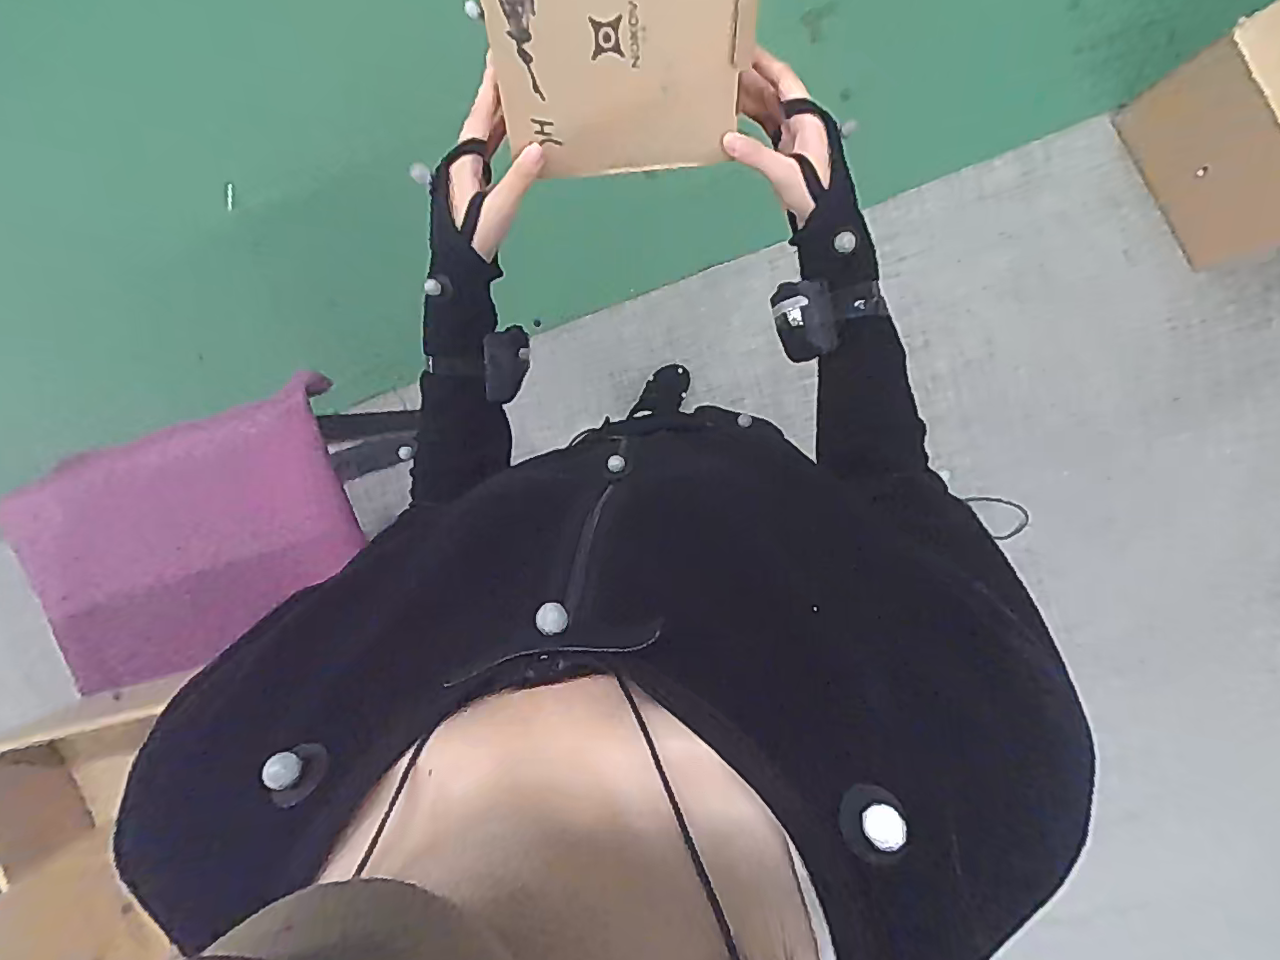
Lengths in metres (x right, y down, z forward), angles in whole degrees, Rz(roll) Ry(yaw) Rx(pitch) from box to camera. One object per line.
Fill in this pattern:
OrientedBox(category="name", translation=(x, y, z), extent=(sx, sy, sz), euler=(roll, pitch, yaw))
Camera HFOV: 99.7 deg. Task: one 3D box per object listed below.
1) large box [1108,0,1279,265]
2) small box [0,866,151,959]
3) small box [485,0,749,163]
OrientedBox(category="large box", translation=(1.272, -0.715, 1.068), extent=(0.320, 0.320, 0.408), euler=(-32, 91, 11))
OrientedBox(category="small box", translation=(-0.786, 0.637, 0.693), extent=(0.179, 0.176, 0.168), euler=(-14, 96, 9))
OrientedBox(category="small box", translation=(-0.023, -0.361, 0.412), extent=(0.179, 0.176, 0.168), euler=(-6, 136, -4))
